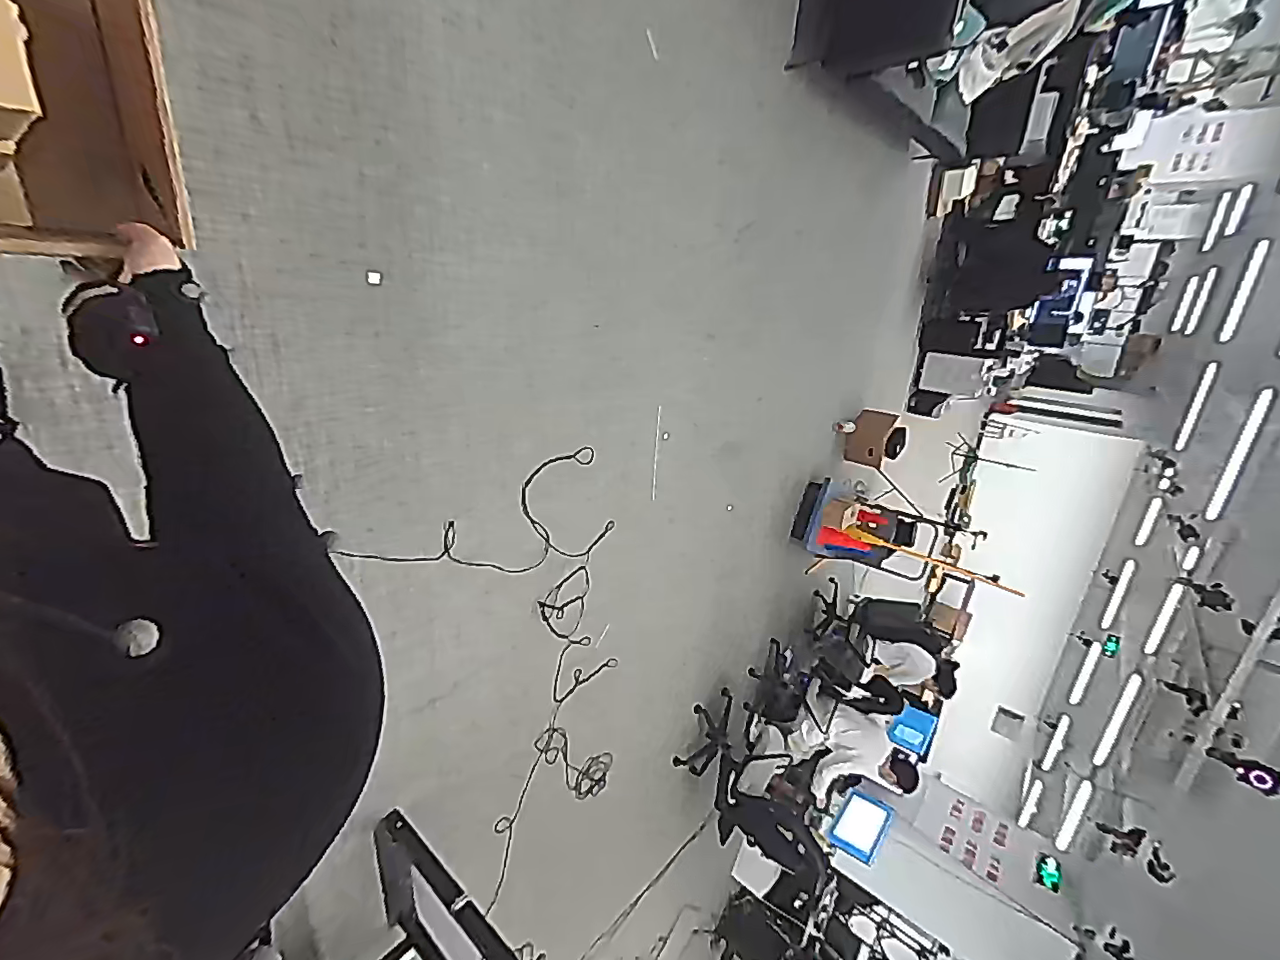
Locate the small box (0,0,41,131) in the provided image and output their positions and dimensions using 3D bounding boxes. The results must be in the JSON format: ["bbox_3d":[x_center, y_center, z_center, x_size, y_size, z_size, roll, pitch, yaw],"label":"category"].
[{"bbox_3d":[-0.472,-0.296,0.282,0.179,0.176,0.168,-22,122,-47],"label":"small box"}]
